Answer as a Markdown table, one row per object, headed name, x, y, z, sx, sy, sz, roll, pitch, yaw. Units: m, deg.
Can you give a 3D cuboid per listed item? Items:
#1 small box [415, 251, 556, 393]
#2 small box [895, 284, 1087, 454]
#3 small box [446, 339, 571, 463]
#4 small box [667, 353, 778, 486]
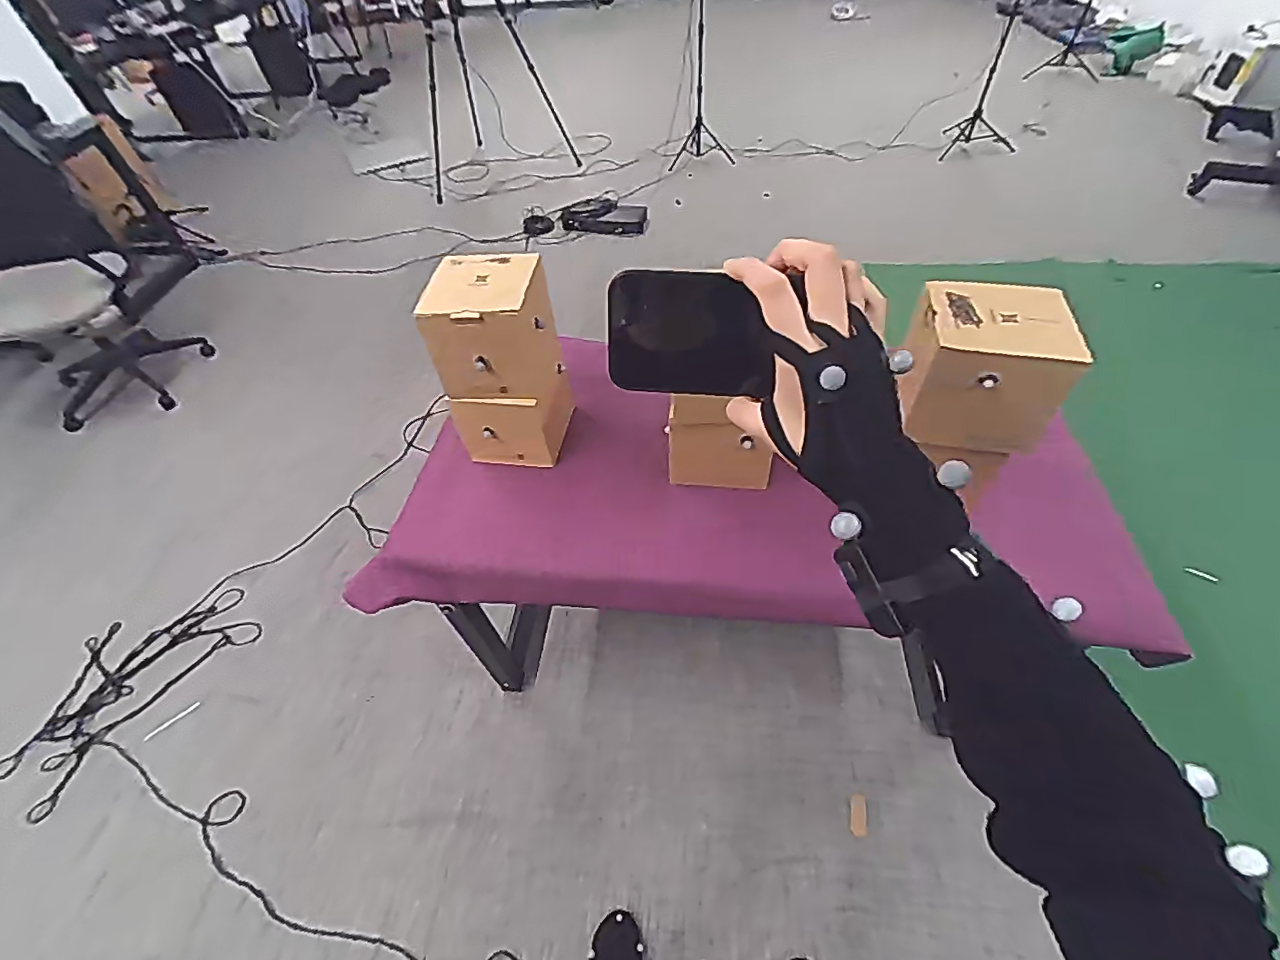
| name | x | y | z | sx | sy | sz | roll | pitch | yaw |
| --- | --- | --- | --- | --- | --- | --- | --- | --- | --- |
| small box | -0.245 | -0.262 | 0.910 | 0.168 | 0.176 | 0.179 | 2 | 51 | 5 |
| small box | 0.476 | -0.156 | 0.773 | 0.179 | 0.176 | 0.168 | 10 | 52 | 11 |
| small box | -0.237 | -0.151 | 1.032 | 0.168 | 0.176 | 0.179 | 5 | 51 | 8 |
| small box | 0.145 | -0.104 | 0.964 | 0.179 | 0.176 | 0.168 | 5 | 51 | 8 |
